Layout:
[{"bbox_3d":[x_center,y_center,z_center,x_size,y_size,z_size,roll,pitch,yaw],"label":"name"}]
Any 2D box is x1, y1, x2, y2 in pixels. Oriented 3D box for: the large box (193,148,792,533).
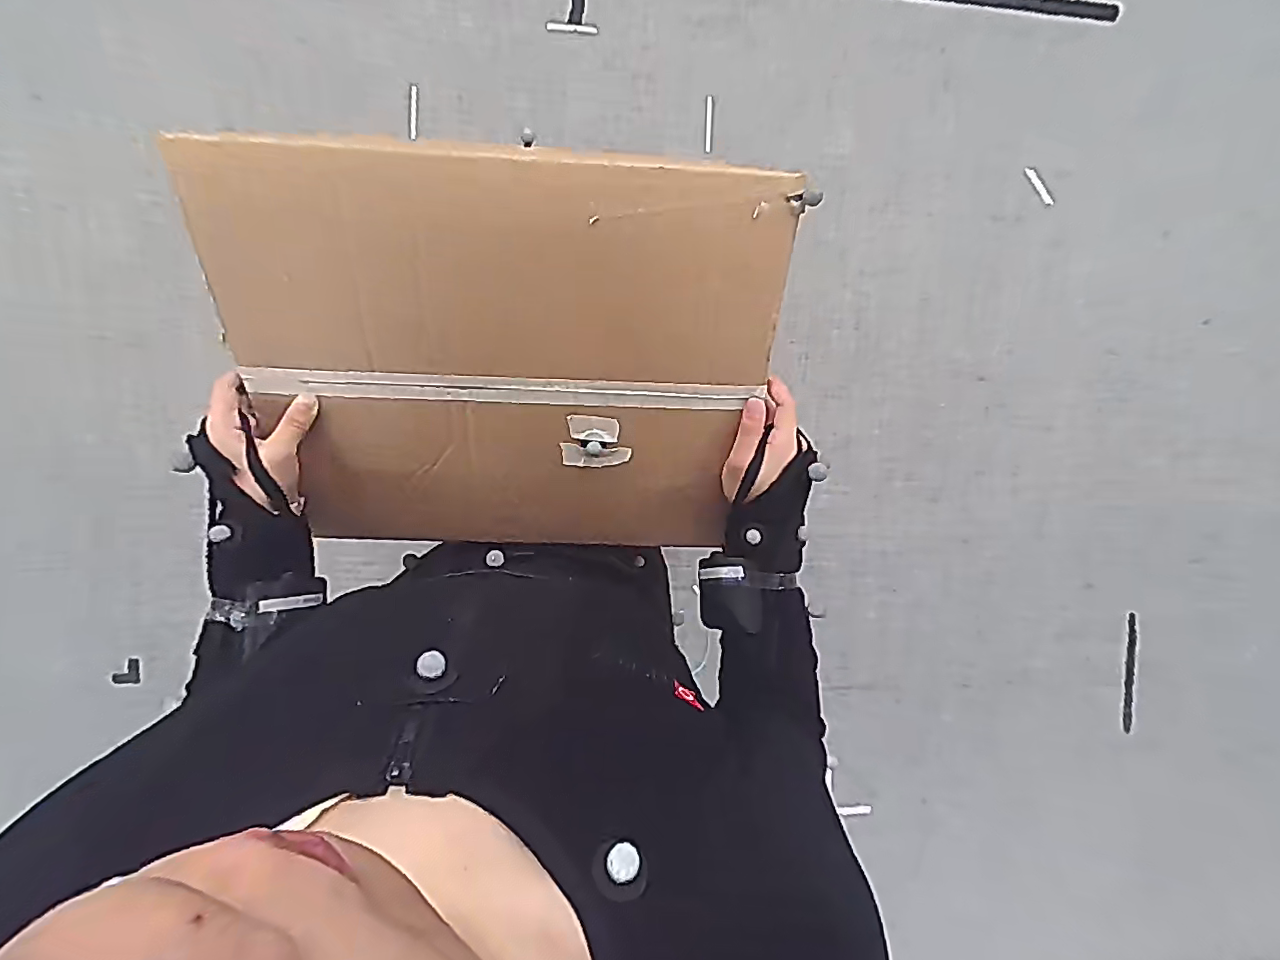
[{"bbox_3d":[-0.108,-0.159,0.563,0.408,0.320,0.320,1,124,-4],"label":"large box"}]
